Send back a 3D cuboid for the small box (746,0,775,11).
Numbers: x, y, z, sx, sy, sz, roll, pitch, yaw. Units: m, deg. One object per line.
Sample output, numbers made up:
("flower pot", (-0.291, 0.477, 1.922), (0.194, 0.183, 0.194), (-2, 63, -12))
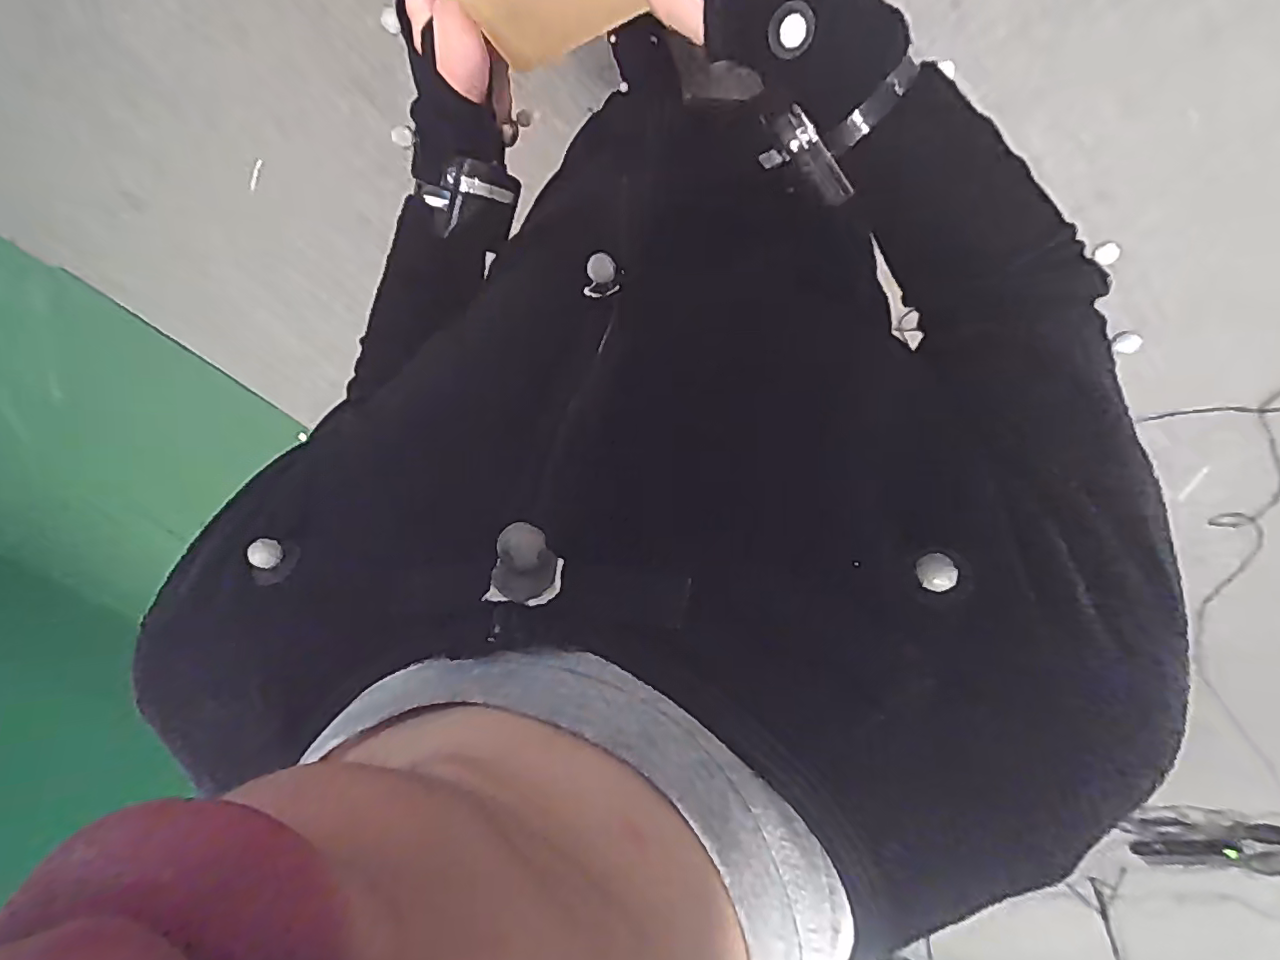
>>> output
("small box", (0.158, -0.753, 0.693), (0.168, 0.176, 0.179), (32, 131, -13))
